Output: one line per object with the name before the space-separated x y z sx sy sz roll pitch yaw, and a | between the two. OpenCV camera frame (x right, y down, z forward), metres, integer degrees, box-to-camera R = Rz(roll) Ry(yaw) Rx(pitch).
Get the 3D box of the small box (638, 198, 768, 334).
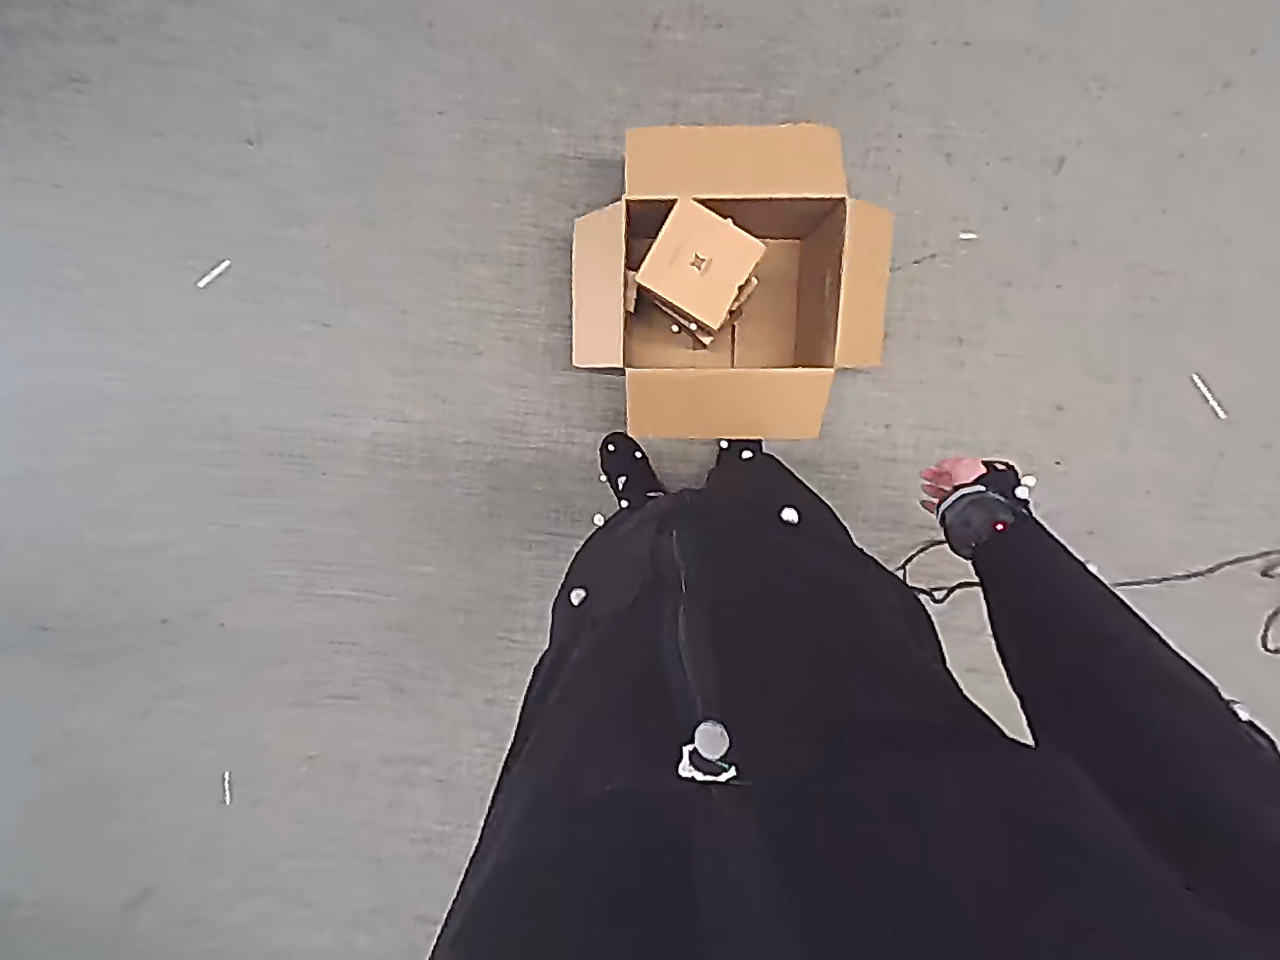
small box | 0.119 -0.393 1.029 0.179 0.176 0.168 32 102 0
